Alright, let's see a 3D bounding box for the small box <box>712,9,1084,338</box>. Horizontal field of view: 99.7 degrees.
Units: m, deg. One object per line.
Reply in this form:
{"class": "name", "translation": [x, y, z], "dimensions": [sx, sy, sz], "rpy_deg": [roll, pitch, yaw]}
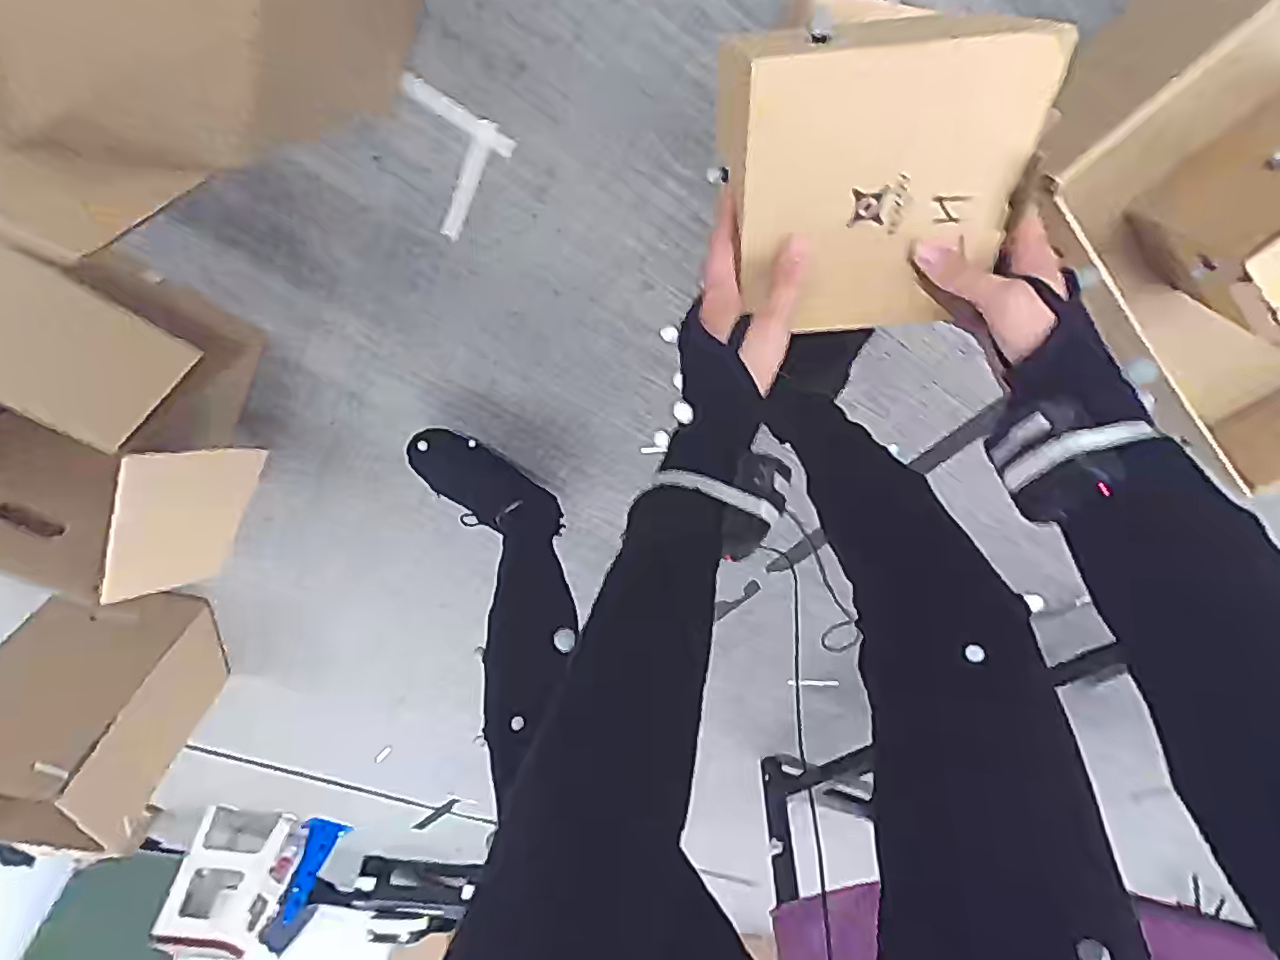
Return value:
{"class": "small box", "translation": [0.145, -0.221, 0.389], "dimensions": [0.179, 0.176, 0.168], "rpy_deg": [-5, 133, 3]}
